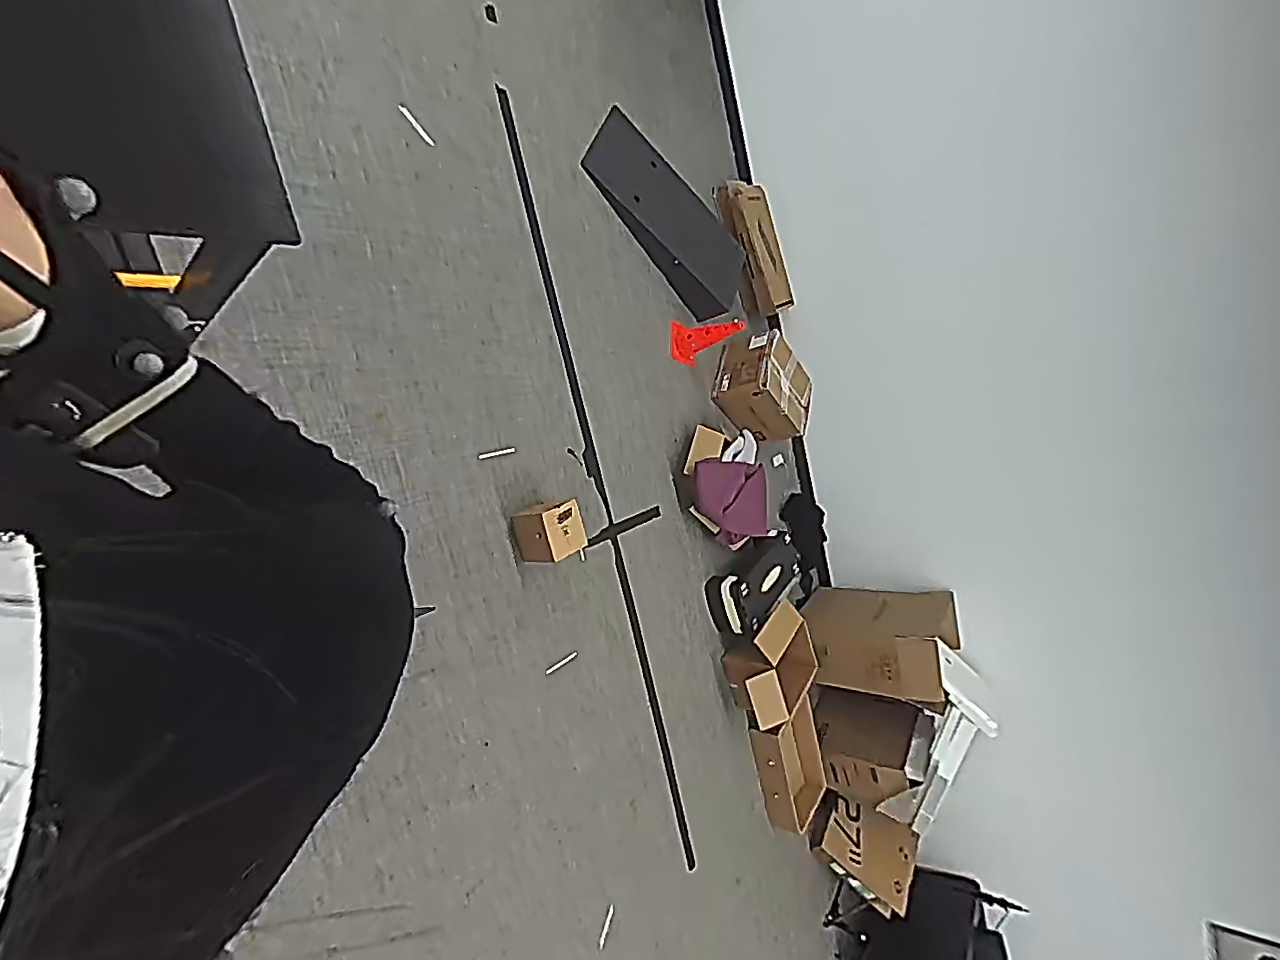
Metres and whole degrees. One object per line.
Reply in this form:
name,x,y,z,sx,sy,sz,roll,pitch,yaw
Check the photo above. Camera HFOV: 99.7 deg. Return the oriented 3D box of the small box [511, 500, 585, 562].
small box,-0.325,0.179,1.884,0.168,0.176,0.179,-25,104,-49
